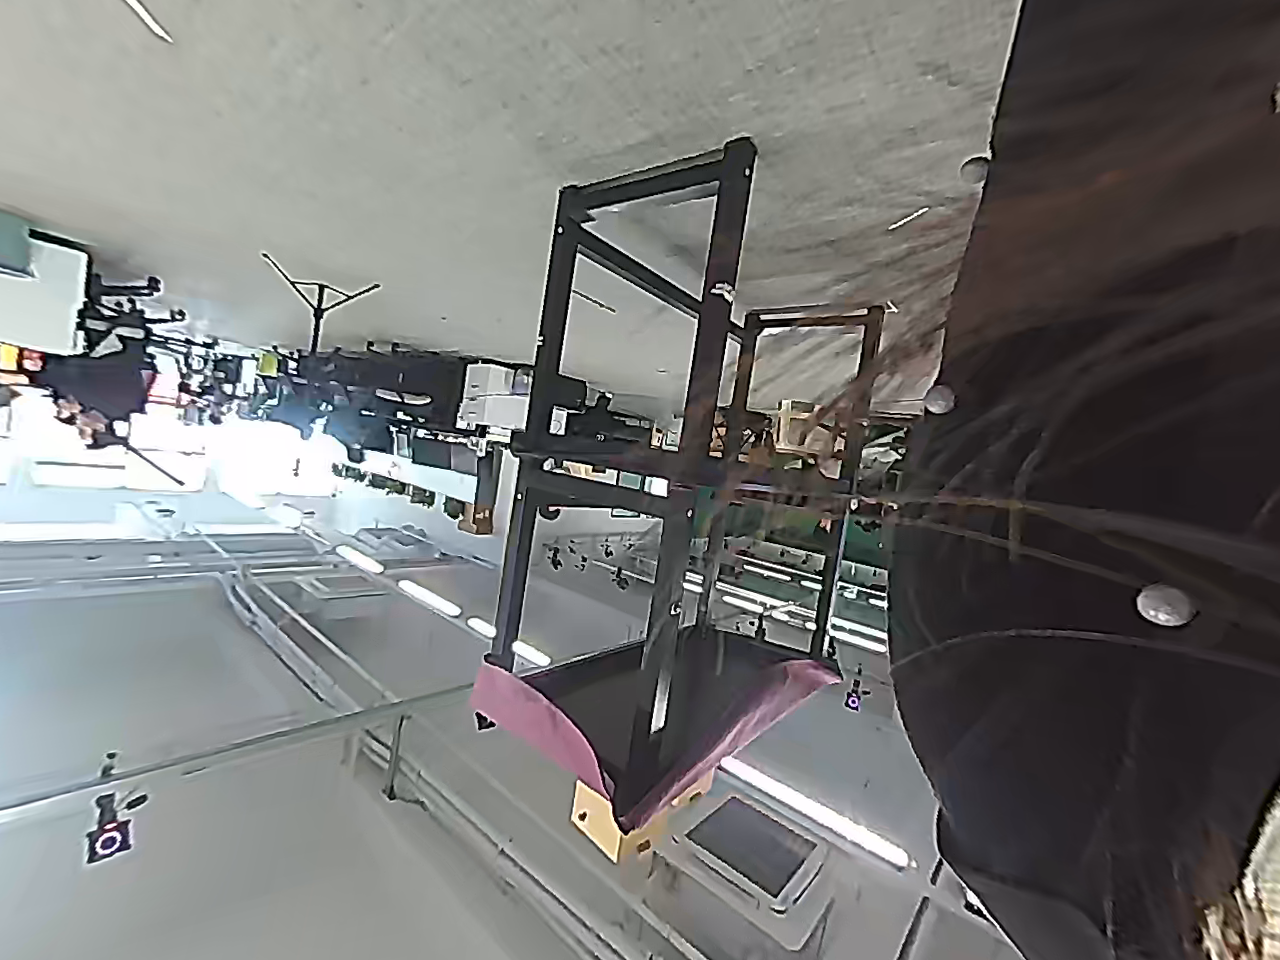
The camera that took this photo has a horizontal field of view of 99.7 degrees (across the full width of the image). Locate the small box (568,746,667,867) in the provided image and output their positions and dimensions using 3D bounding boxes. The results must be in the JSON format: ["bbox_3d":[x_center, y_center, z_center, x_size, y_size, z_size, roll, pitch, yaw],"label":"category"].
[{"bbox_3d":[-0.052,0.798,1.347,0.168,0.176,0.179,4,-175,-45],"label":"small box"}]

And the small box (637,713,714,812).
[{"bbox_3d":[0.098,0.807,1.564,0.179,0.176,0.168,11,-177,42],"label":"small box"}]
